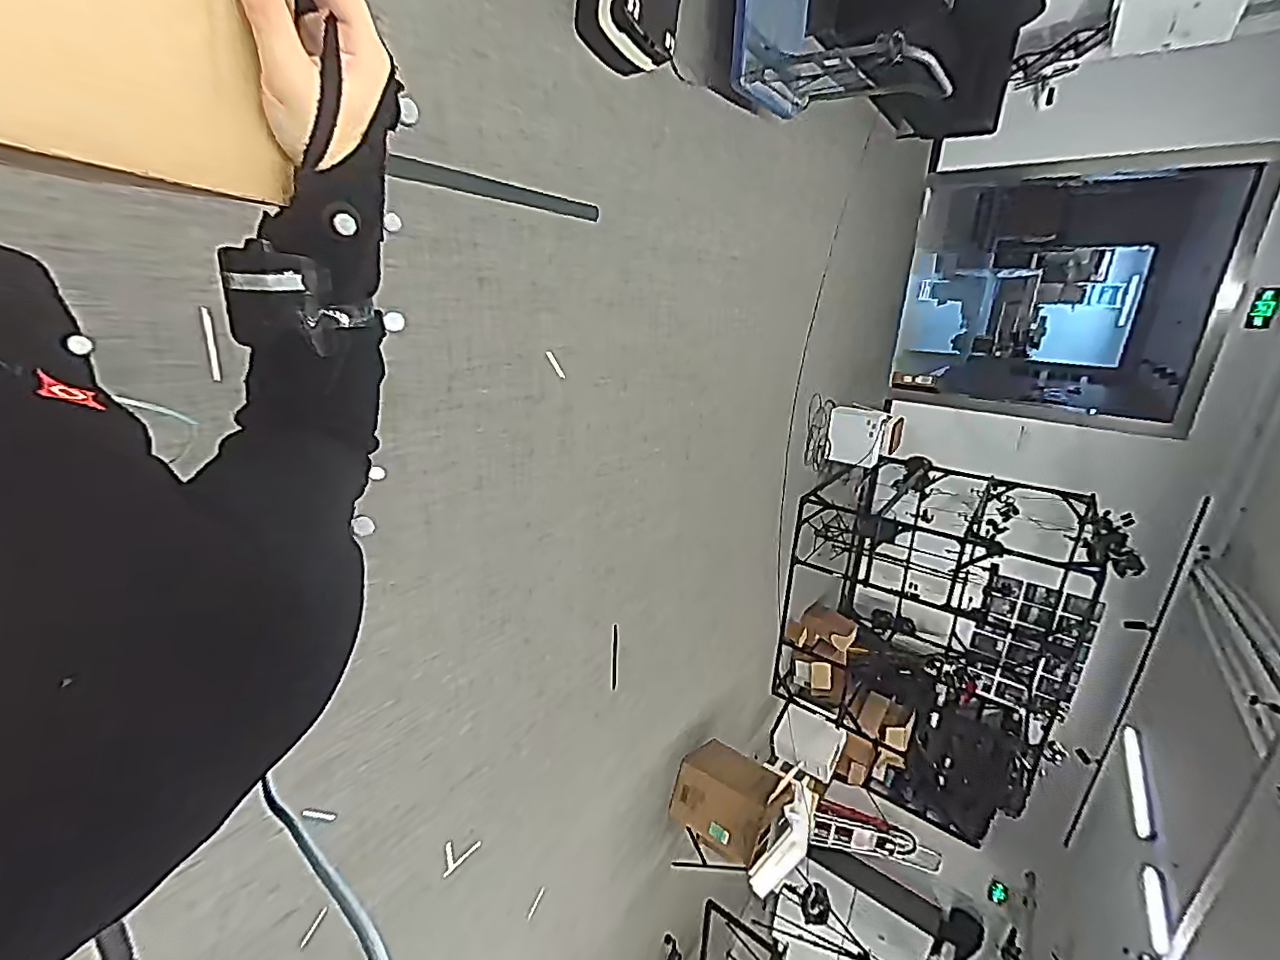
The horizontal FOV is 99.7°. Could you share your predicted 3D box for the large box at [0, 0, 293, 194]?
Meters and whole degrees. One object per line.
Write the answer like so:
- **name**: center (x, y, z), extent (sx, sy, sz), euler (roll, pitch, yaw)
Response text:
- **large box**: center (-0.412, -0.317, 0.178), extent (0.408, 0.320, 0.320), euler (-20, 126, -57)
